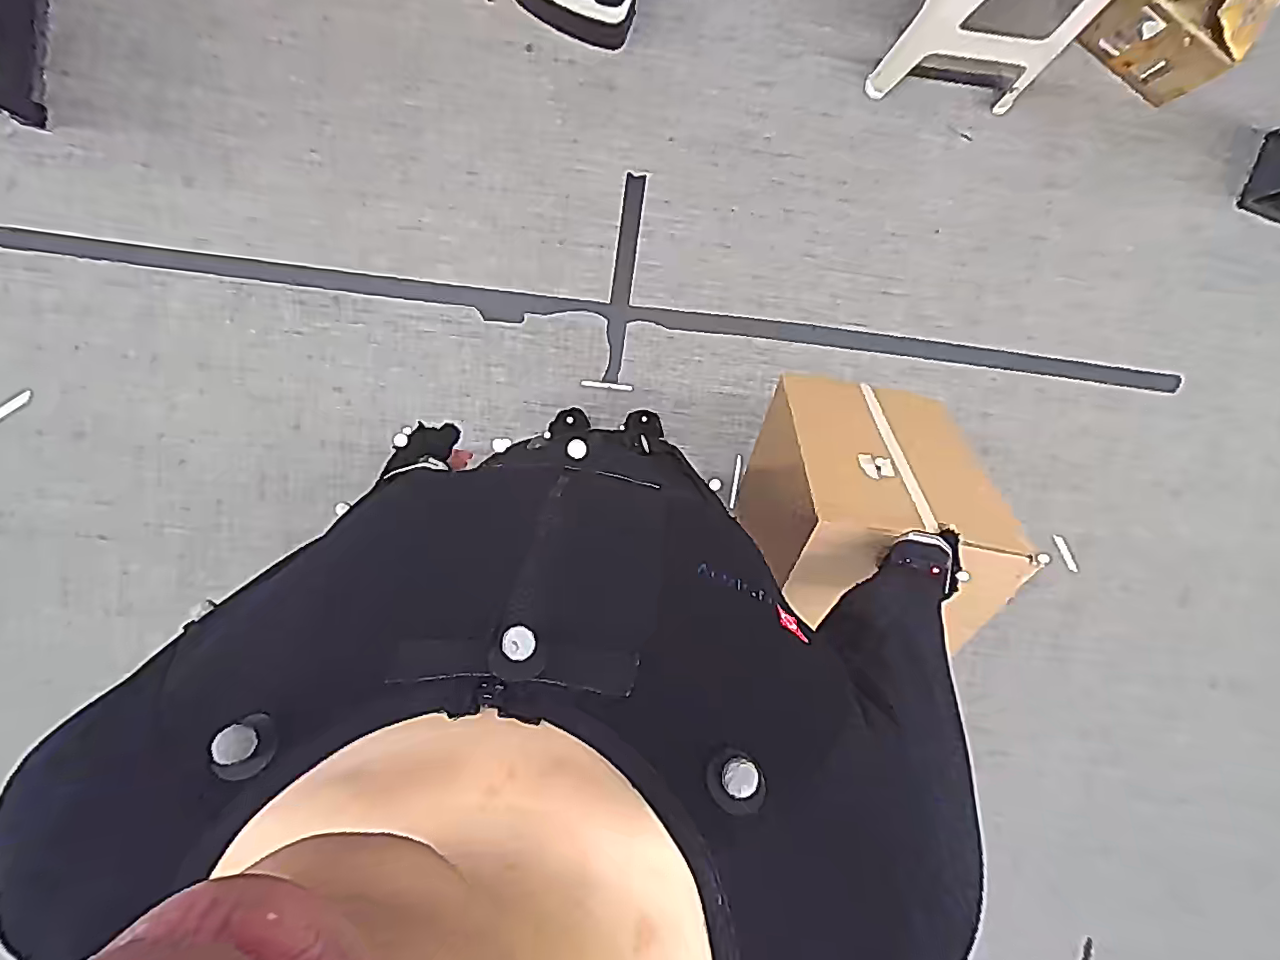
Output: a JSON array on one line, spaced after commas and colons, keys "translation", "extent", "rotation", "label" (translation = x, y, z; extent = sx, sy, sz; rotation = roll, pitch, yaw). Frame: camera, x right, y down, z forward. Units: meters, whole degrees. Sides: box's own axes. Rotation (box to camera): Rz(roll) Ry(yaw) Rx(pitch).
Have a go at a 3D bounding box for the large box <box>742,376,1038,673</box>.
[{"translation": [0.385, 0.069, 0.974], "extent": [0.320, 0.408, 0.320], "rotation": [10, 131, -2], "label": "large box"}]
